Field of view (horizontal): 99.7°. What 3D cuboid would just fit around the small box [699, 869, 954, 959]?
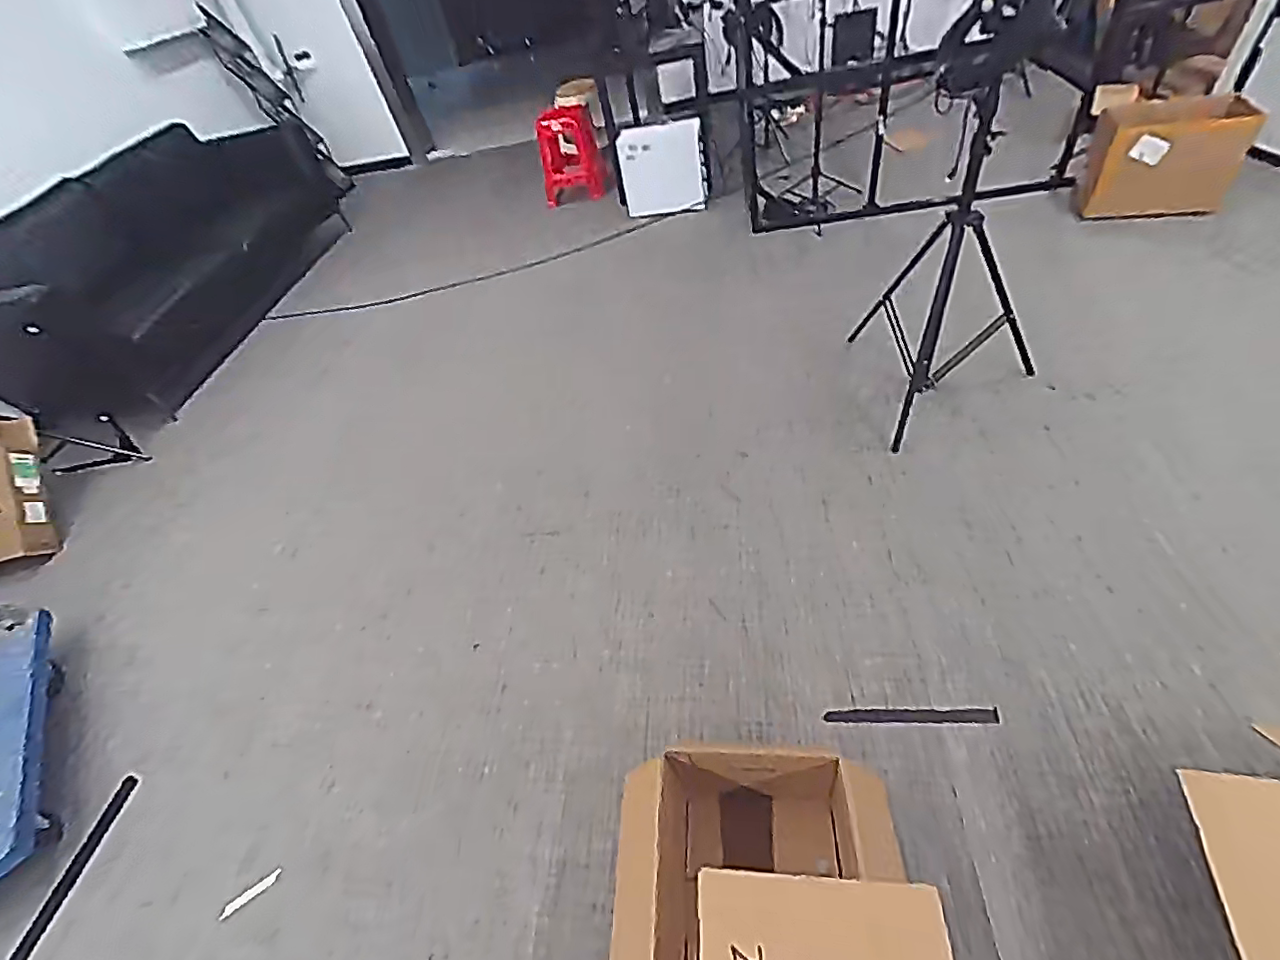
[{"bbox_3d":[0.140,0.414,0.416,0.179,0.176,0.168,-4,49,12],"label":"small box"}]
